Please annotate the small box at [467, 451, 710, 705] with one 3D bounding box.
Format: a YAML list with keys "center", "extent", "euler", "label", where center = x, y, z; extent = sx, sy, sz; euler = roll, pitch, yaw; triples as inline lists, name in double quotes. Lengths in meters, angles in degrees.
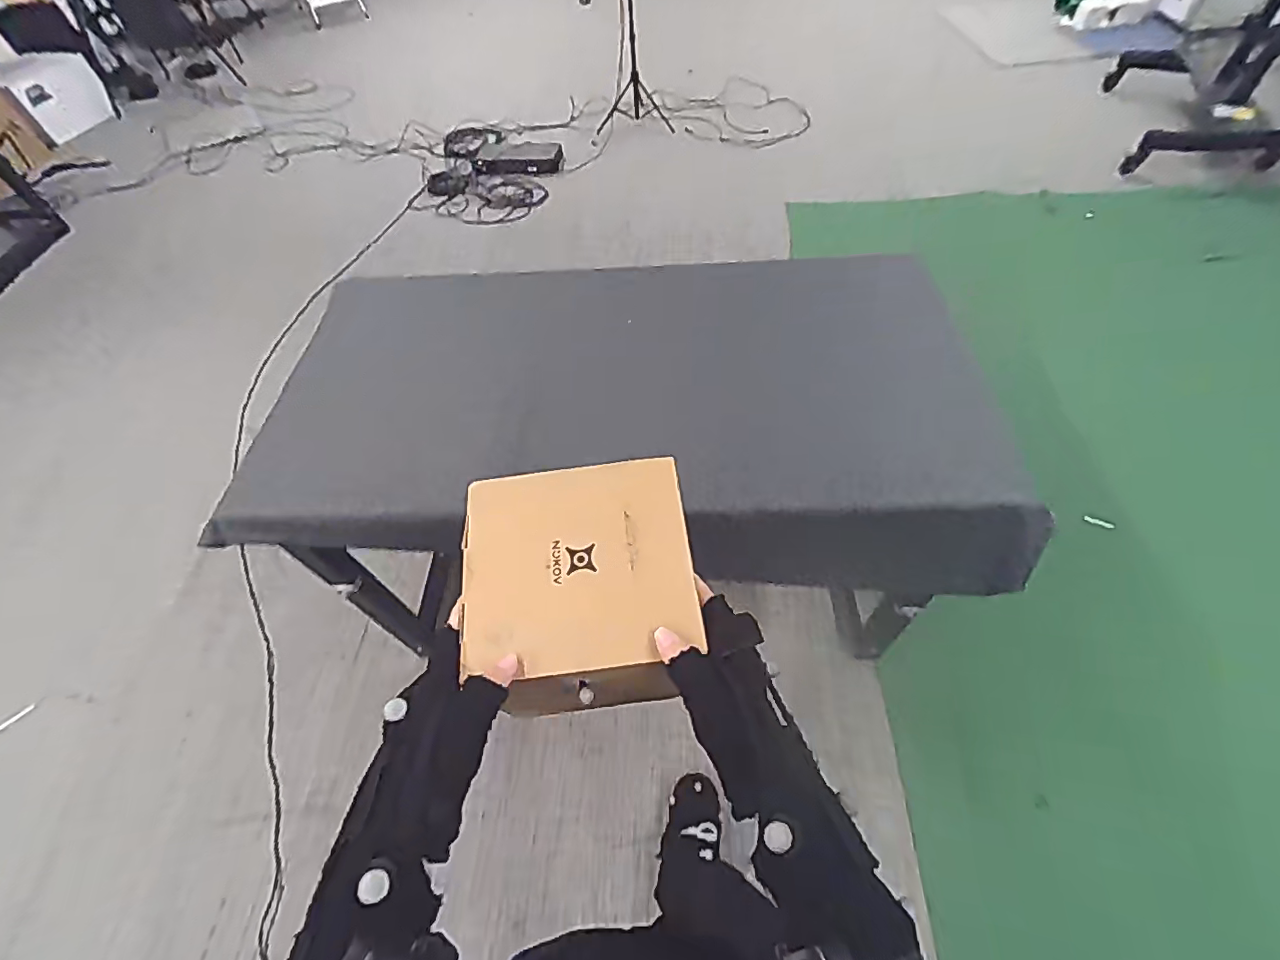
- center: [-0.041, 0.096, 0.486]
  extent: [0.179, 0.176, 0.168]
  euler: [-8, 60, -2]
  label: "small box"
